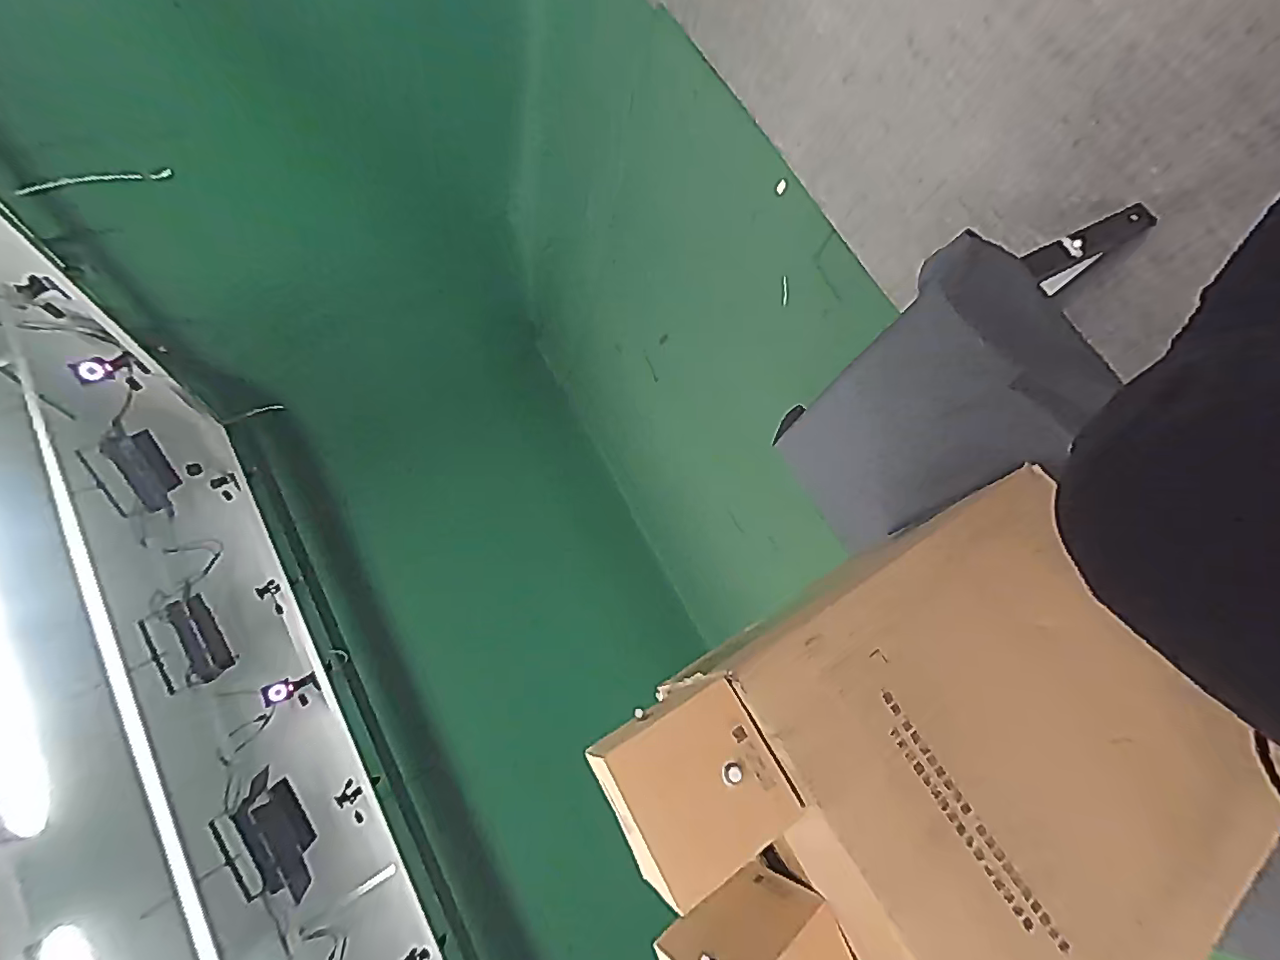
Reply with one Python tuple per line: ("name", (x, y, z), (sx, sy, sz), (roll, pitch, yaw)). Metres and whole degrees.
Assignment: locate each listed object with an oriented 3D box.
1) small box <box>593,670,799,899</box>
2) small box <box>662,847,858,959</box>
("small box", (0.061, 0.354, 0.663), (0.168, 0.176, 0.179), (59, 158, 15))
("small box", (0.164, 0.613, 0.671), (0.168, 0.176, 0.179), (-30, 84, 58))
